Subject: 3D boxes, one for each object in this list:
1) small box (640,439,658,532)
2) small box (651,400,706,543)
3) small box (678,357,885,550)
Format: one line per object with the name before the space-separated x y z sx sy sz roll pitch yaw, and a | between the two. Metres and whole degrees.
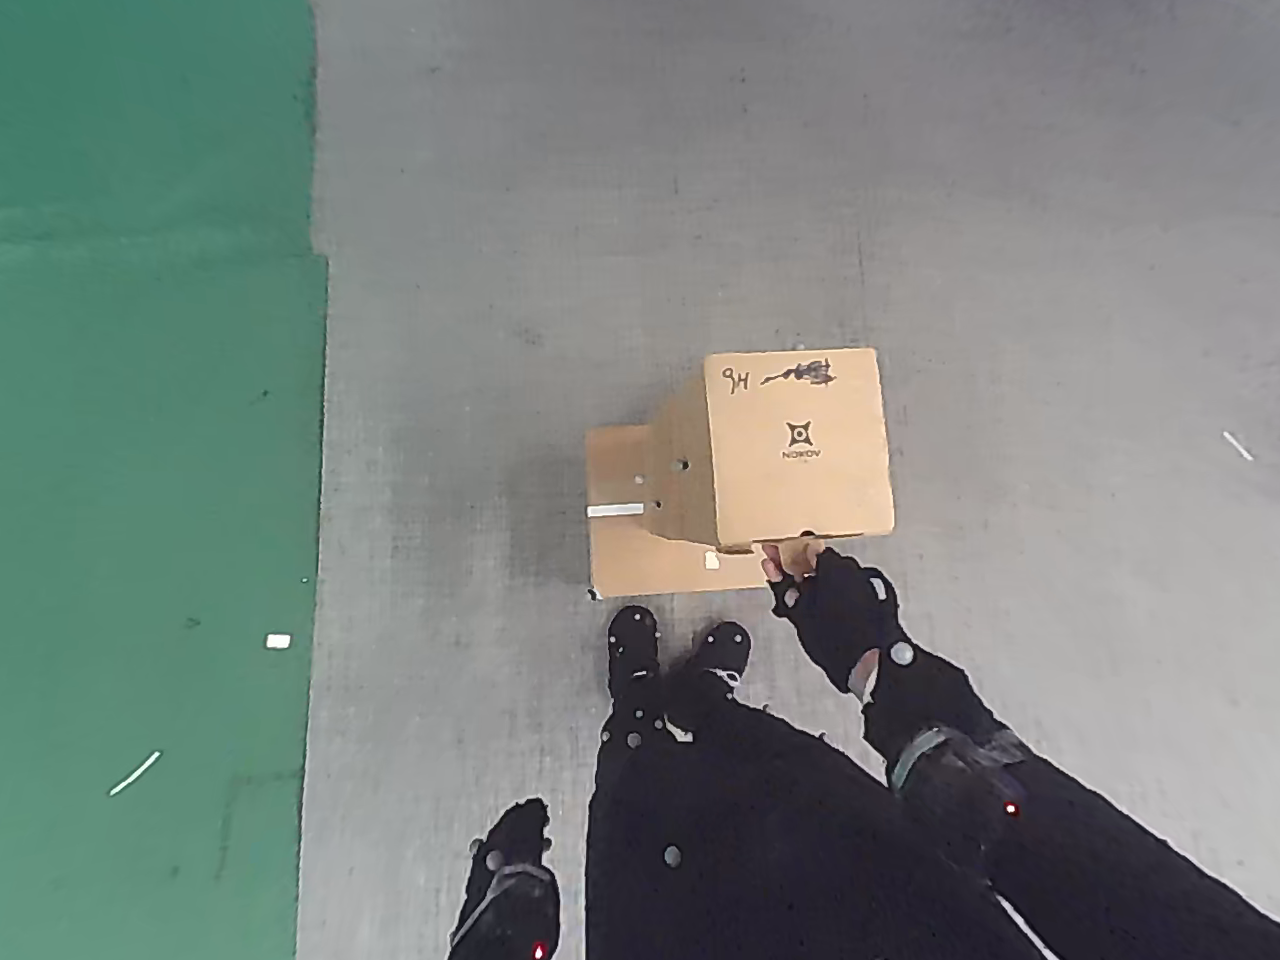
small box | 0.100 0.008 0.900 0.179 0.176 0.168 4 85 -4
small box | 0.107 -0.006 0.741 0.168 0.176 0.179 0 85 -6
small box | 0.137 -0.022 0.579 0.168 0.176 0.179 -3 86 -5
